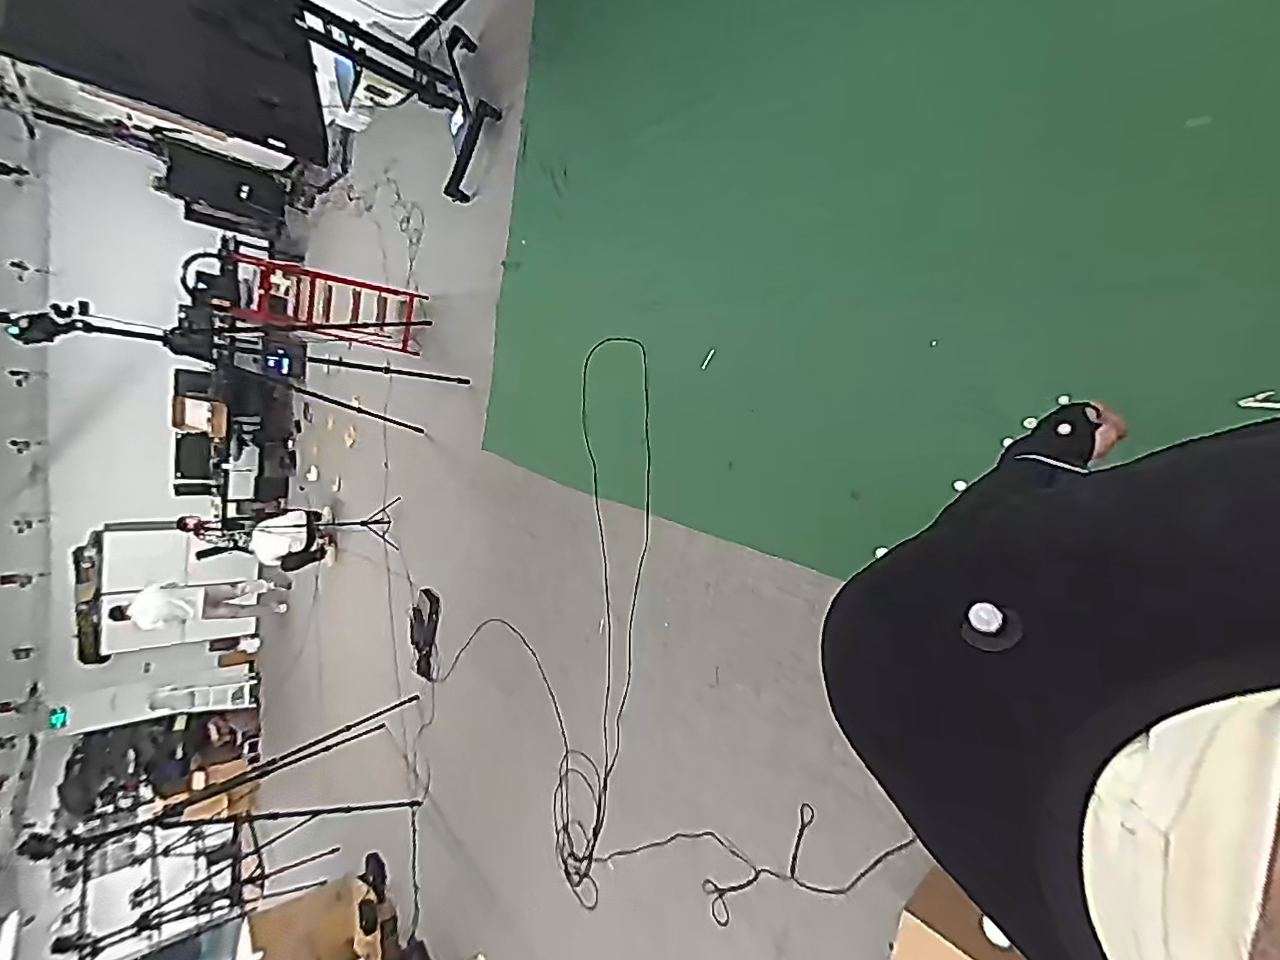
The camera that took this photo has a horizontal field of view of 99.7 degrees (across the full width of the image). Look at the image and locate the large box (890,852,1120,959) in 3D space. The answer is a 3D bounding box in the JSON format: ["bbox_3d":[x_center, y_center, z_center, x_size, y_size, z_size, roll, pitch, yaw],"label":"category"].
[{"bbox_3d":[0.853,1.214,1.291,0.408,0.320,0.320,15,100,45],"label":"large box"}]
